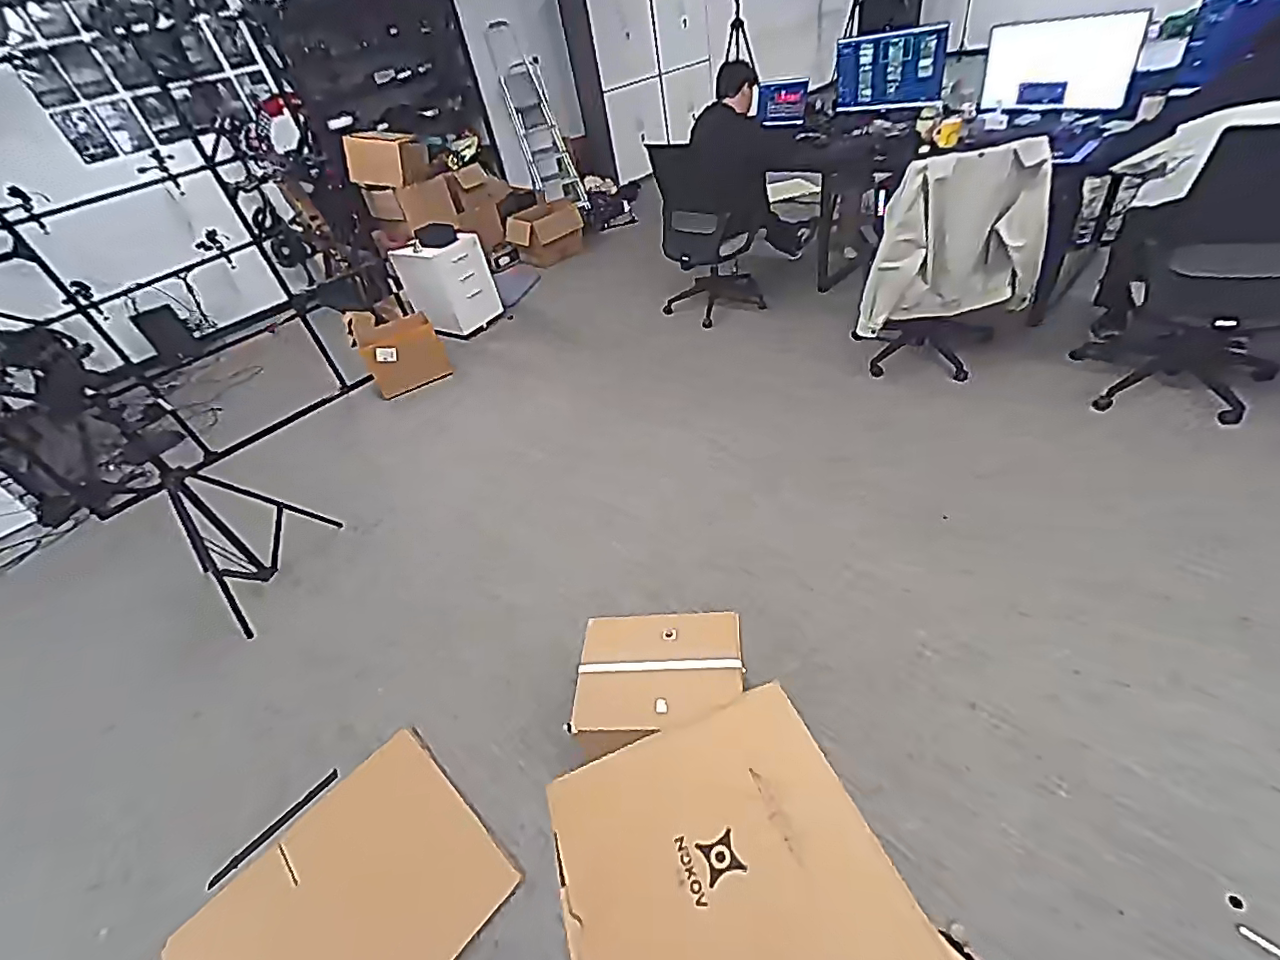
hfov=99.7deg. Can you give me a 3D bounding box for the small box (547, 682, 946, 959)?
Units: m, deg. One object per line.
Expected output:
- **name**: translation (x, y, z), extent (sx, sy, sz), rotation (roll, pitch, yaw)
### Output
- **small box**: translation (0.059, 0.276, 0.354), extent (0.179, 0.176, 0.168), rotation (-21, 38, -9)
